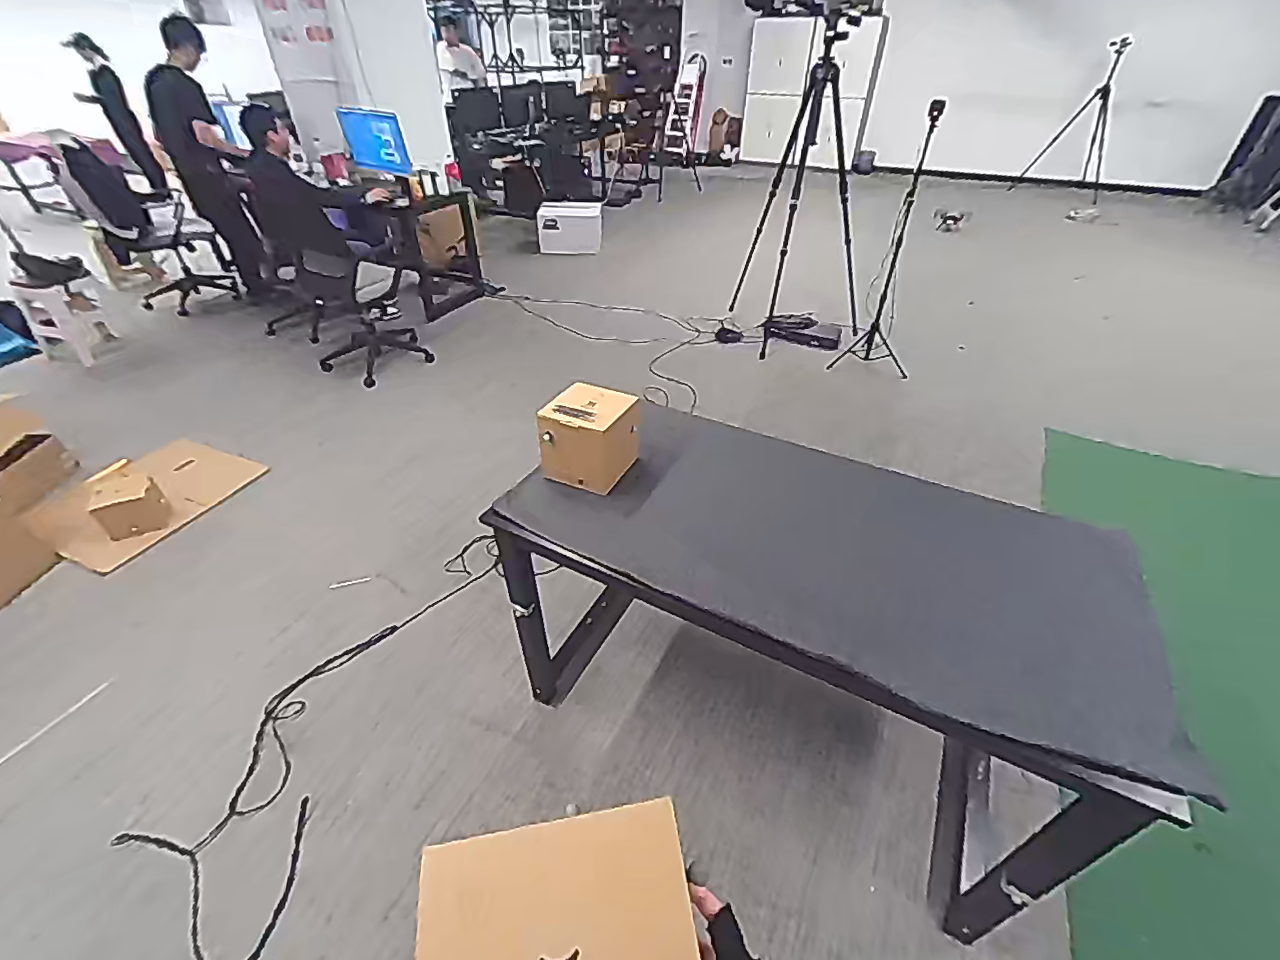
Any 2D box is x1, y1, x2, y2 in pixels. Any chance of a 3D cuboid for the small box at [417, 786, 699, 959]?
[{"bbox_3d":[-0.045,0.333,0.373,0.168,0.176,0.179,-9,54,-4],"label":"small box"}]
